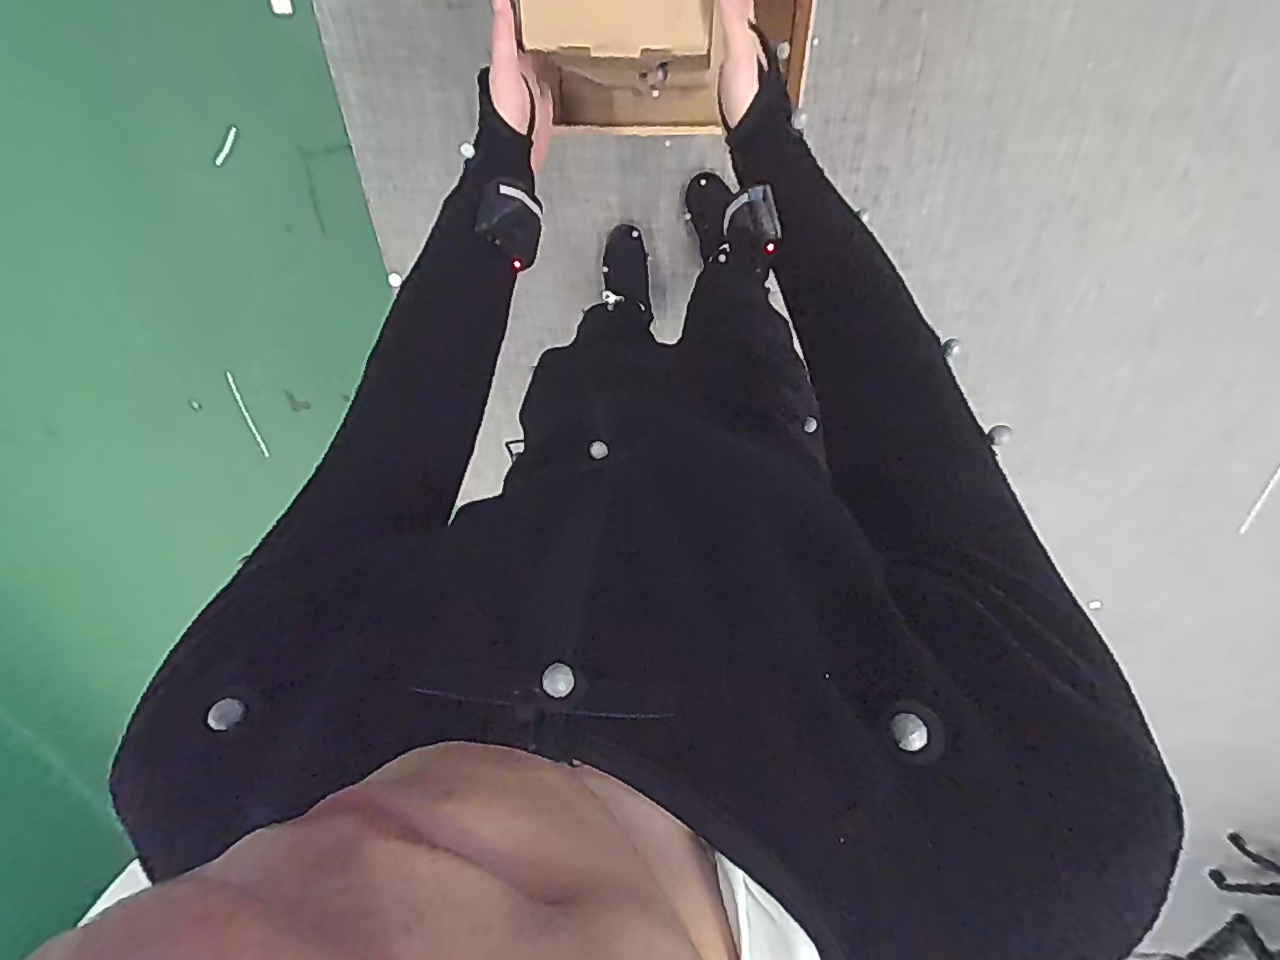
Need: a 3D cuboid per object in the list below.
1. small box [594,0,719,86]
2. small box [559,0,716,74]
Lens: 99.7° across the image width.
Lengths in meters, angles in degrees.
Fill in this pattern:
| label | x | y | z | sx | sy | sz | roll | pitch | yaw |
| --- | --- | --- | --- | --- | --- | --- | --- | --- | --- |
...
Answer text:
| label | x | y | z | sx | sy | sz | roll | pitch | yaw |
| --- | --- | --- | --- | --- | --- | --- | --- | --- | --- |
| small box | 0.024 | -0.666 | 0.753 | 0.168 | 0.176 | 0.179 | 5 | 123 | 6 |
| small box | 0.005 | -0.578 | 0.618 | 0.168 | 0.176 | 0.179 | 4 | 124 | 5 |
